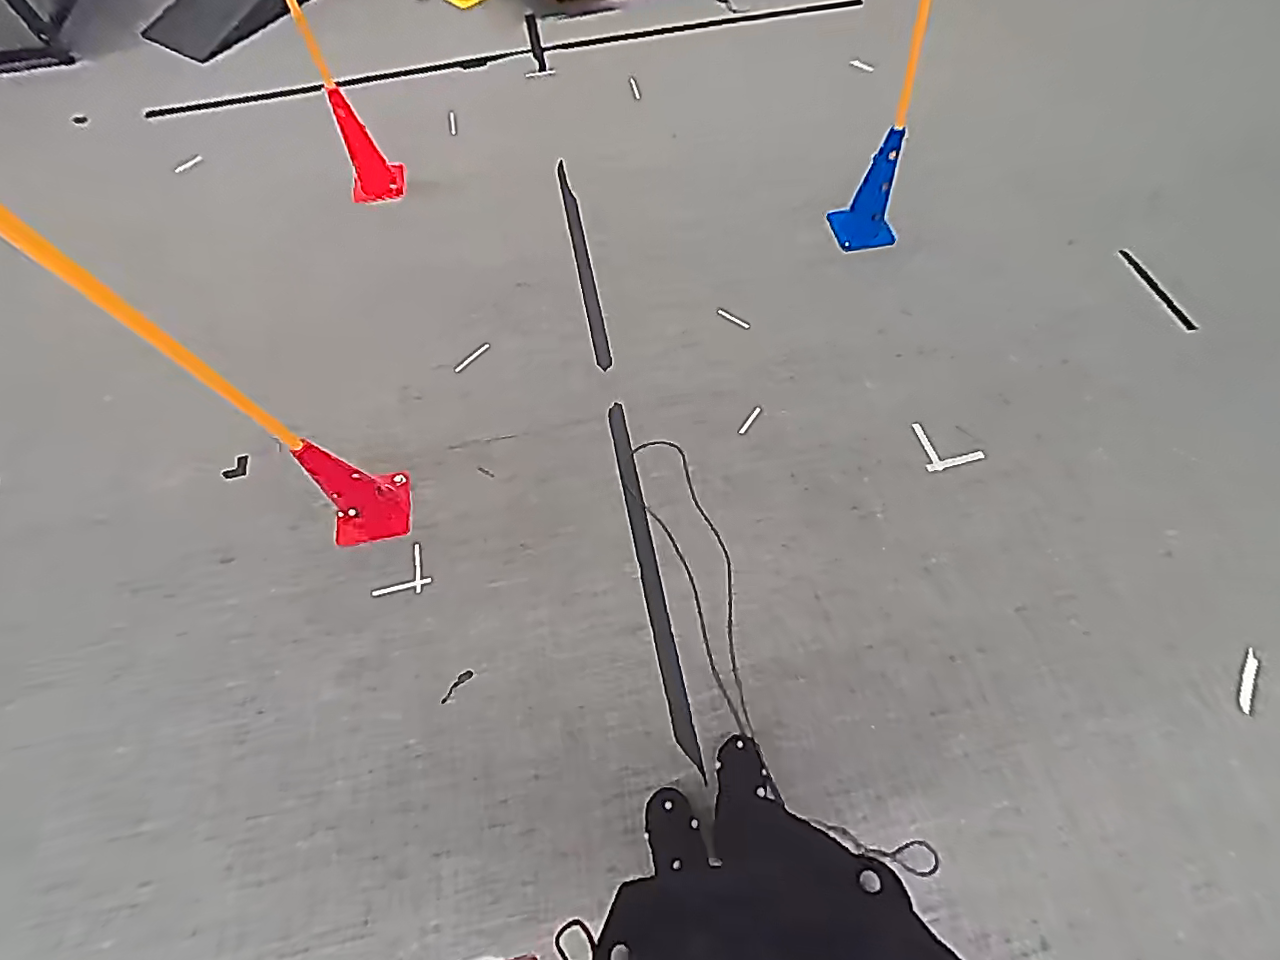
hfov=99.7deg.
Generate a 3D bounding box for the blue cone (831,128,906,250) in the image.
[{"bbox_3d":[0.787,-0.974,1.790,0.193,0.380,0.192,-9,65,-2],"label":"blue cone"}]

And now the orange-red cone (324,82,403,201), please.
[{"bbox_3d":[-1.033,-1.239,1.960,0.198,0.360,0.199,-8,63,-2],"label":"orange-red cone"}]
